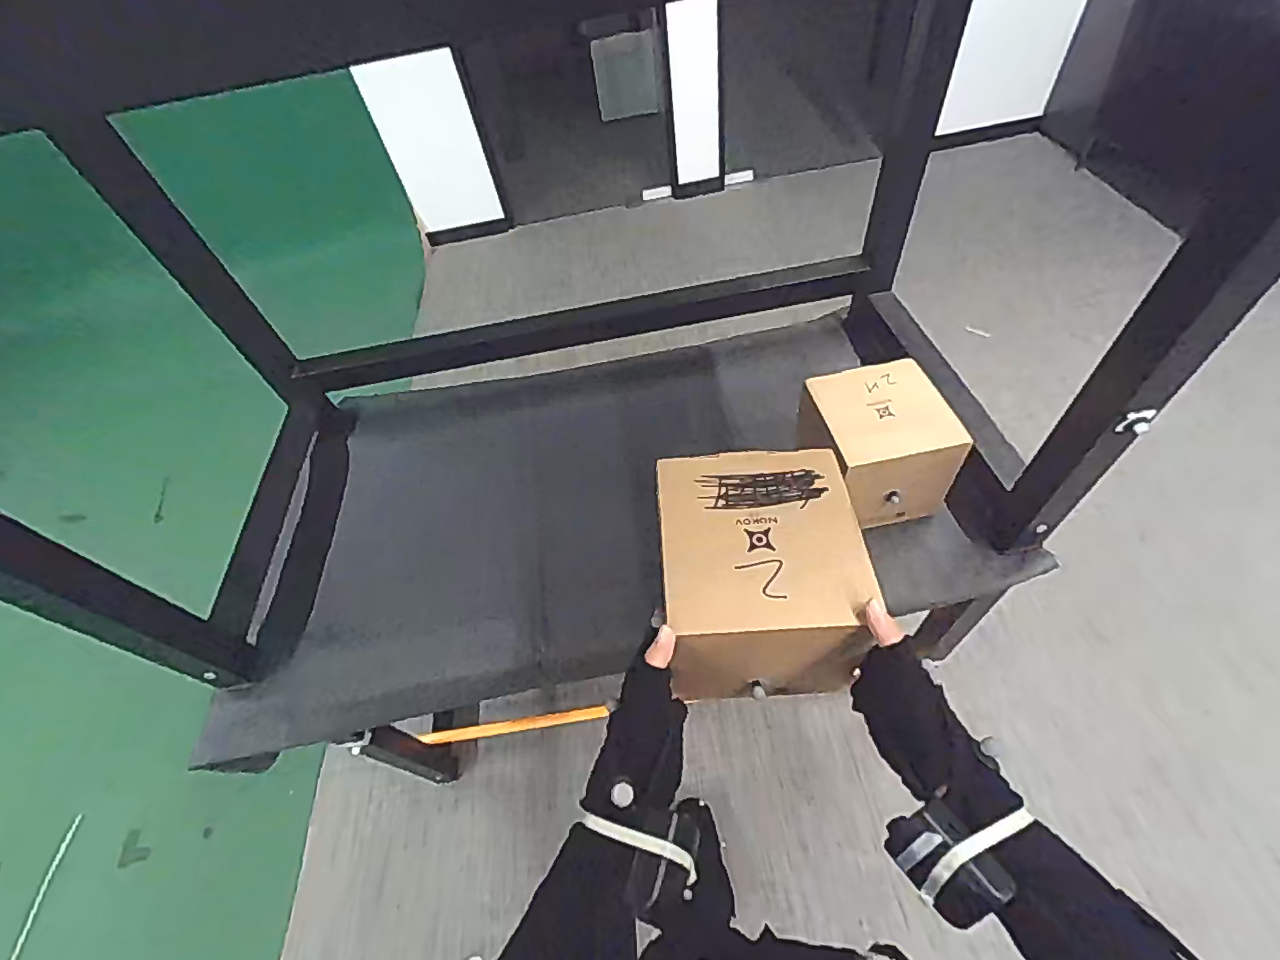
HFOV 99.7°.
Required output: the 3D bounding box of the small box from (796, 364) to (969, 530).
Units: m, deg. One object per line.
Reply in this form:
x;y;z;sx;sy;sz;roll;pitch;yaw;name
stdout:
0.344;-0.041;0.809;0.168;0.176;0.179;-12;50;0;small box
